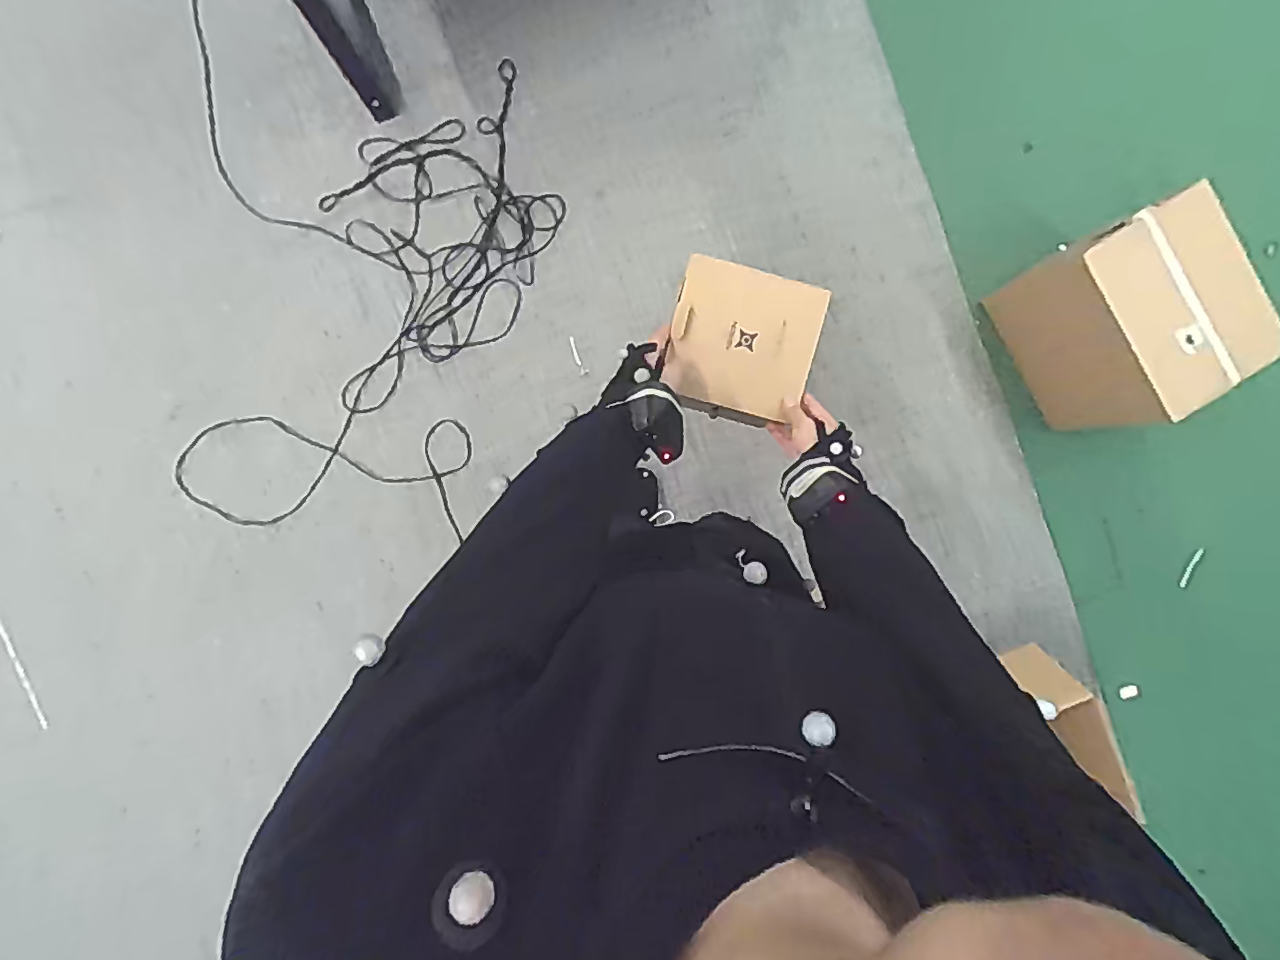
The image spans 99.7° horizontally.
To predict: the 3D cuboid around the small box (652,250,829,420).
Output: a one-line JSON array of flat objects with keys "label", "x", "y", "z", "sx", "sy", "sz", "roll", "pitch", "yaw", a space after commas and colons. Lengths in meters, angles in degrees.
[{"label": "small box", "x": 0.117, "y": -0.176, "z": 0.715, "sx": 0.179, "sy": 0.176, "sz": 0.168, "roll": 14, "pitch": 95, "yaw": -2}]
